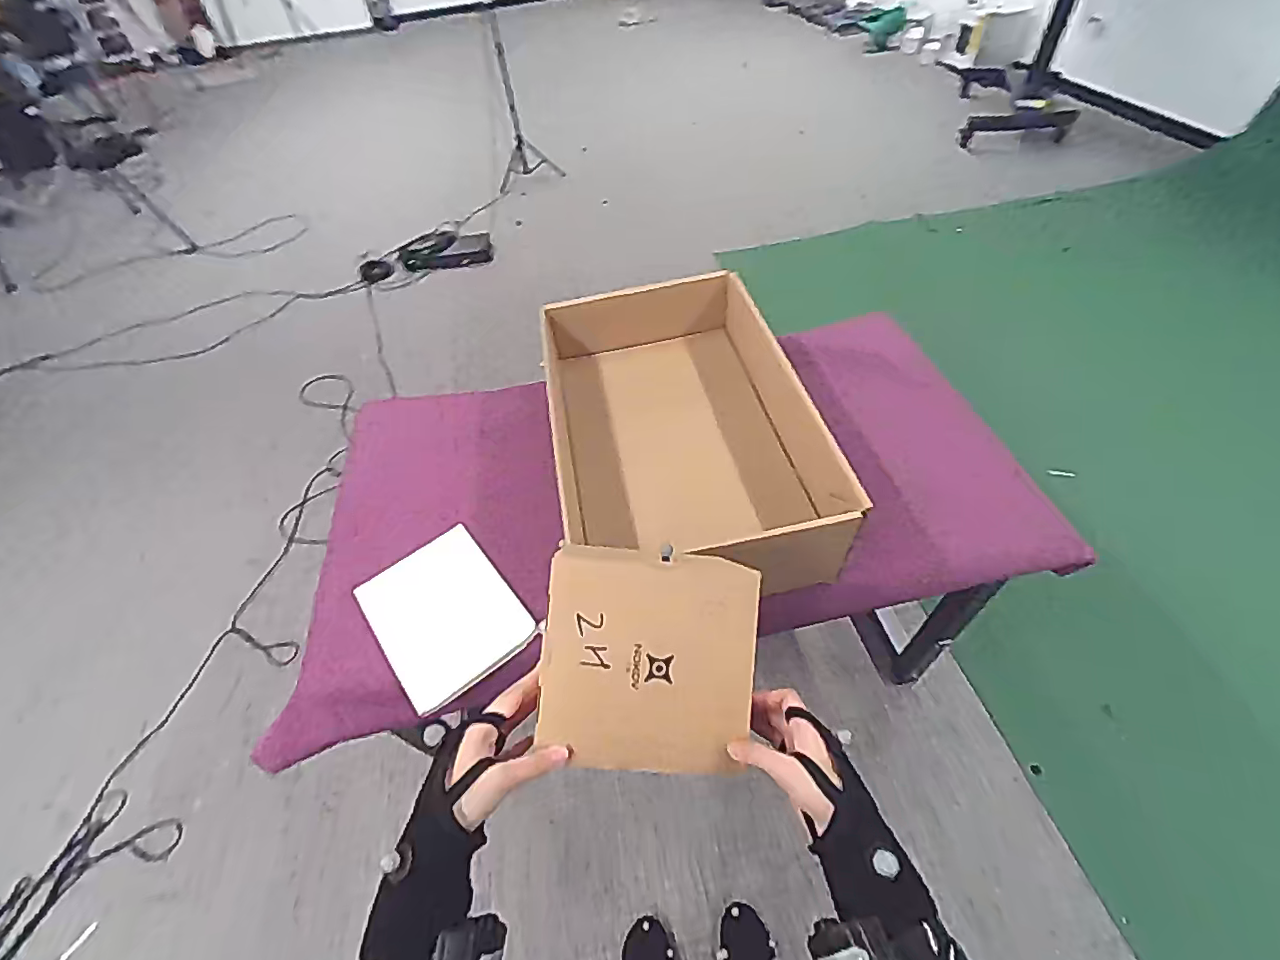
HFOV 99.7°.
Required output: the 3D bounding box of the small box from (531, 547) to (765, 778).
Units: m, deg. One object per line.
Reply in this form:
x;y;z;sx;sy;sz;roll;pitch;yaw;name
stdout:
0.004;0.155;0.515;0.179;0.176;0.168;6;85;-2;small box
